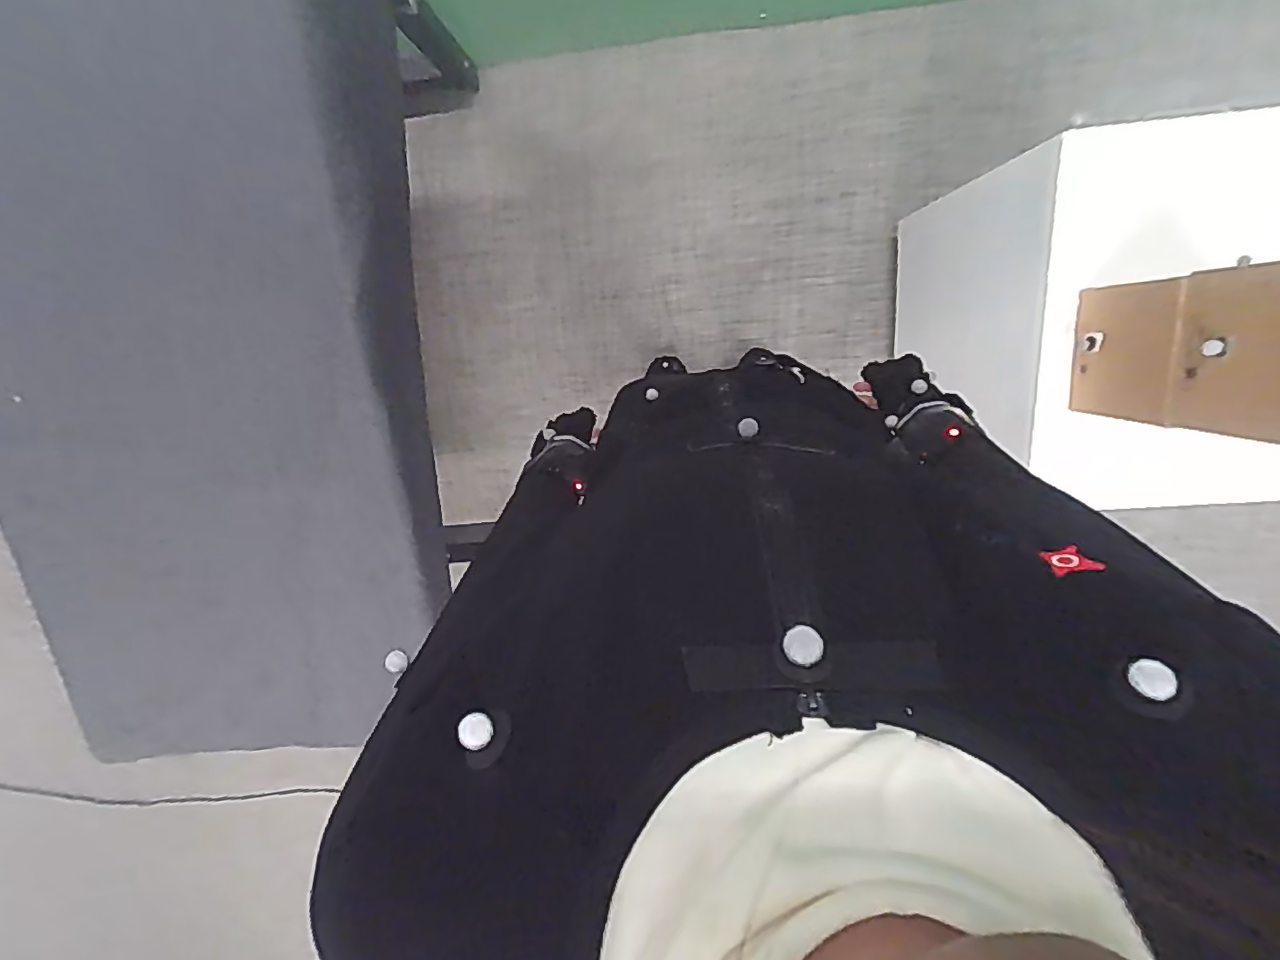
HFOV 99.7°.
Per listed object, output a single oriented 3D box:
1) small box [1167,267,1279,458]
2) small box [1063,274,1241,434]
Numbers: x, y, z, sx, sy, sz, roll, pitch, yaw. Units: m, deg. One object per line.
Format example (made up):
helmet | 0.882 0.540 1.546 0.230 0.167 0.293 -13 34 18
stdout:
small box | 0.652 -0.116 0.492 0.179 0.176 0.168 -7 104 5
small box | 0.663 -0.156 0.651 0.179 0.176 0.168 -5 103 8
